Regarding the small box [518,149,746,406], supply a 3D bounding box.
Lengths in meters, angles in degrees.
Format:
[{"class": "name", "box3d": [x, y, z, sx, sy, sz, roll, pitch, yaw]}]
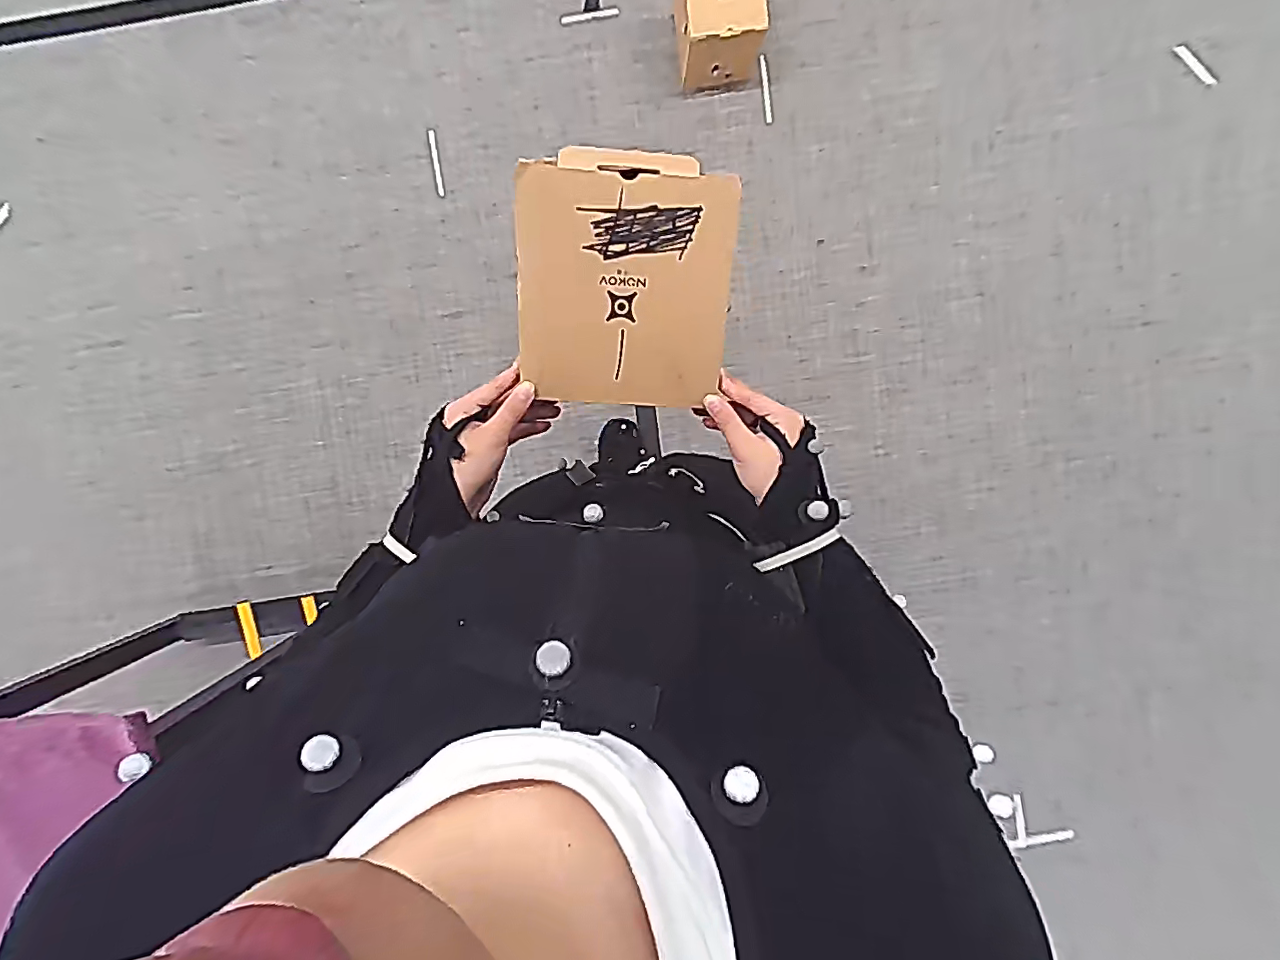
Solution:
[{"class": "small box", "box3d": [-0.013, -0.174, 0.485, 0.168, 0.176, 0.179, 3, 111, -2]}]

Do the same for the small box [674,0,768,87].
[{"class": "small box", "box3d": [0.170, -1.008, 1.181, 0.168, 0.176, 0.179, -8, 96, 0]}]
